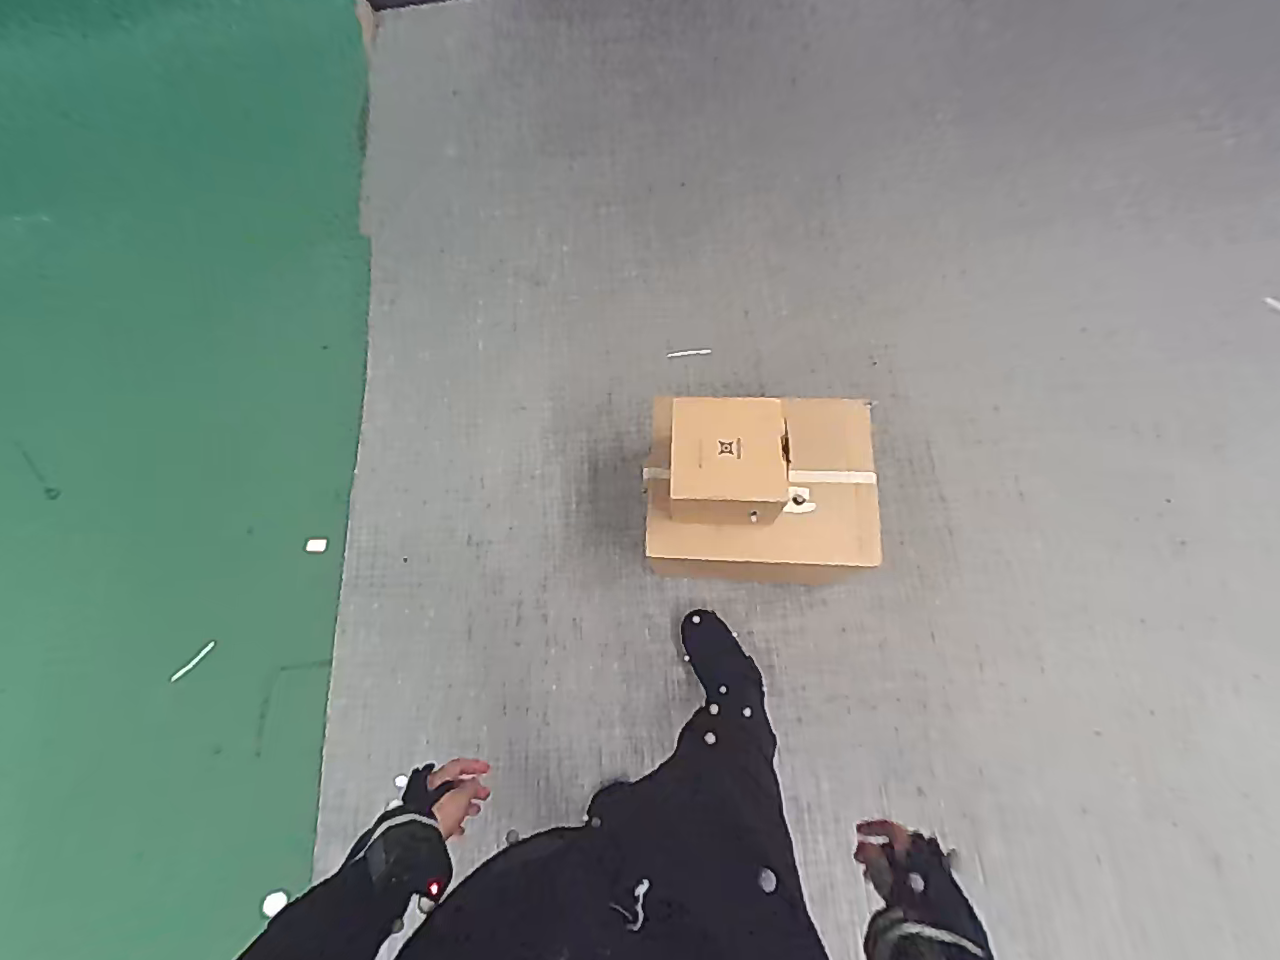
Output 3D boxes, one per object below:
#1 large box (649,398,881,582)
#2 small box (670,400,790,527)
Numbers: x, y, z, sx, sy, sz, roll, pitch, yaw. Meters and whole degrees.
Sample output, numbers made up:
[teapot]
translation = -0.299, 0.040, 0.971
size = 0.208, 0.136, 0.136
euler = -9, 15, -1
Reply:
[large box]
translation = 0.225, 0.037, 1.115
size = 0.408, 0.320, 0.320
euler = 2, 74, 4
[small box]
translation = 0.140, -0.021, 0.885
size = 0.179, 0.176, 0.168
euler = 0, 72, 6
